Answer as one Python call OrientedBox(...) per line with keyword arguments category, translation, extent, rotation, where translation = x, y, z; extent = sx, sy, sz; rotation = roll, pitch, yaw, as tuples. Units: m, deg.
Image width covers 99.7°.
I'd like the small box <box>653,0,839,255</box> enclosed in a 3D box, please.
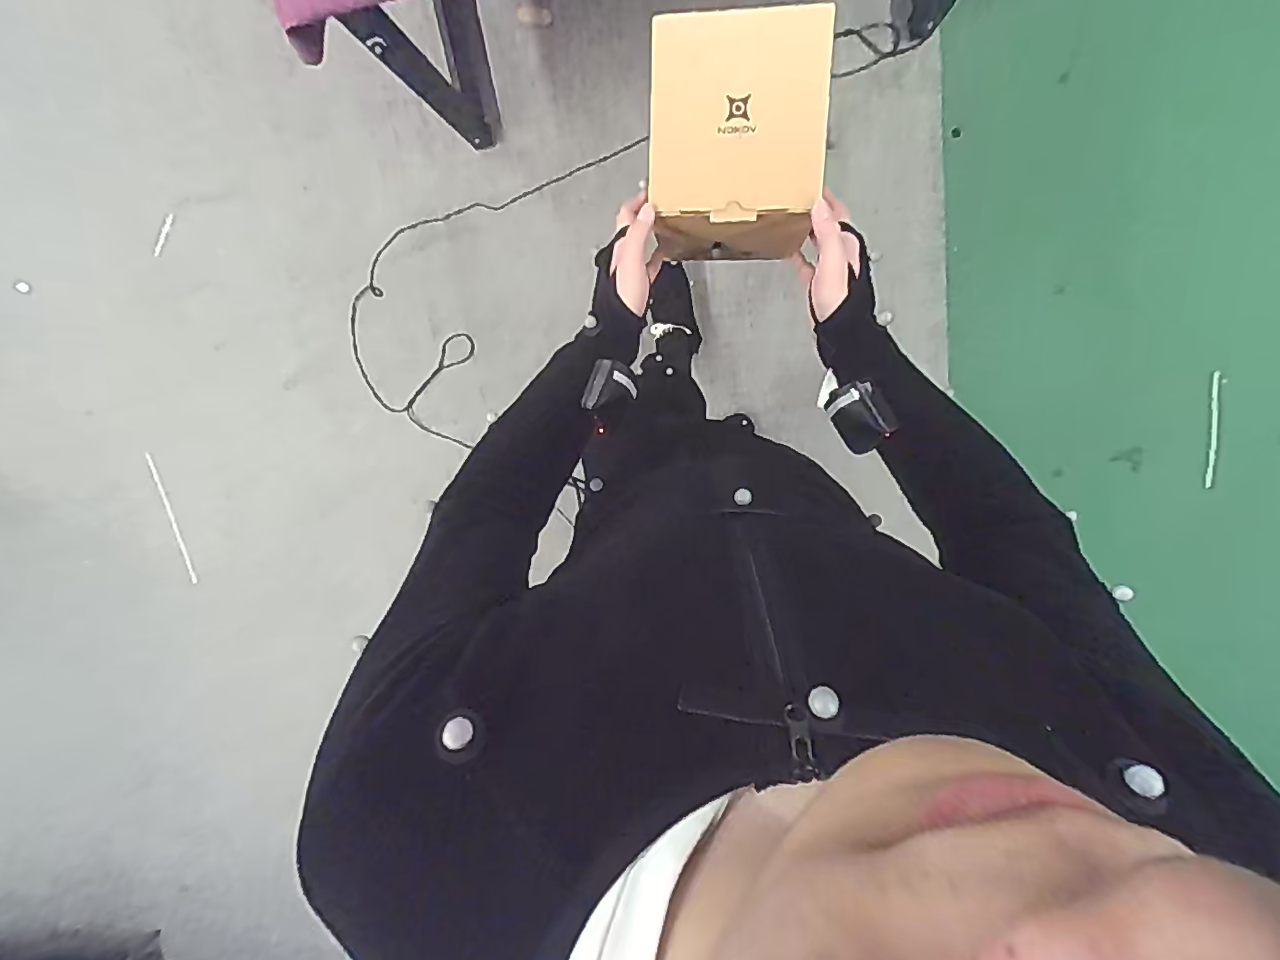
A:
OrientedBox(category="small box", translation=(0.103, -0.353, 0.576), extent=(0.168, 0.176, 0.179), rotation=(1, 99, 7))
